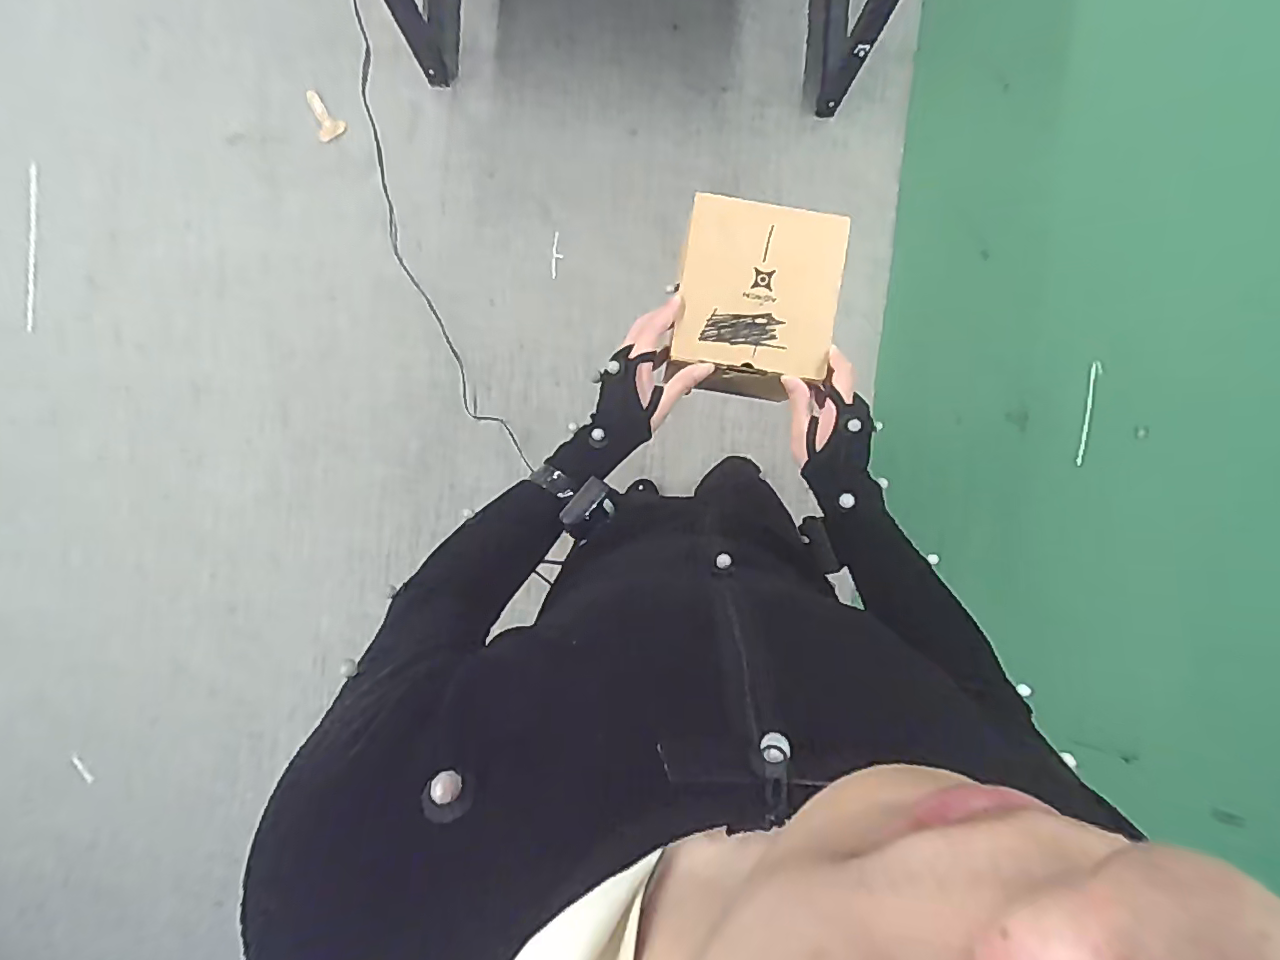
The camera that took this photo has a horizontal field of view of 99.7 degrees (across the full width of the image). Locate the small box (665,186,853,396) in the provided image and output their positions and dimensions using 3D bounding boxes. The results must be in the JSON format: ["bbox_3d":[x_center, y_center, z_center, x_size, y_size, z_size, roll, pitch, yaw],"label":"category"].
[{"bbox_3d":[0.122,-0.201,0.626,0.168,0.176,0.179,9,91,0],"label":"small box"}]
